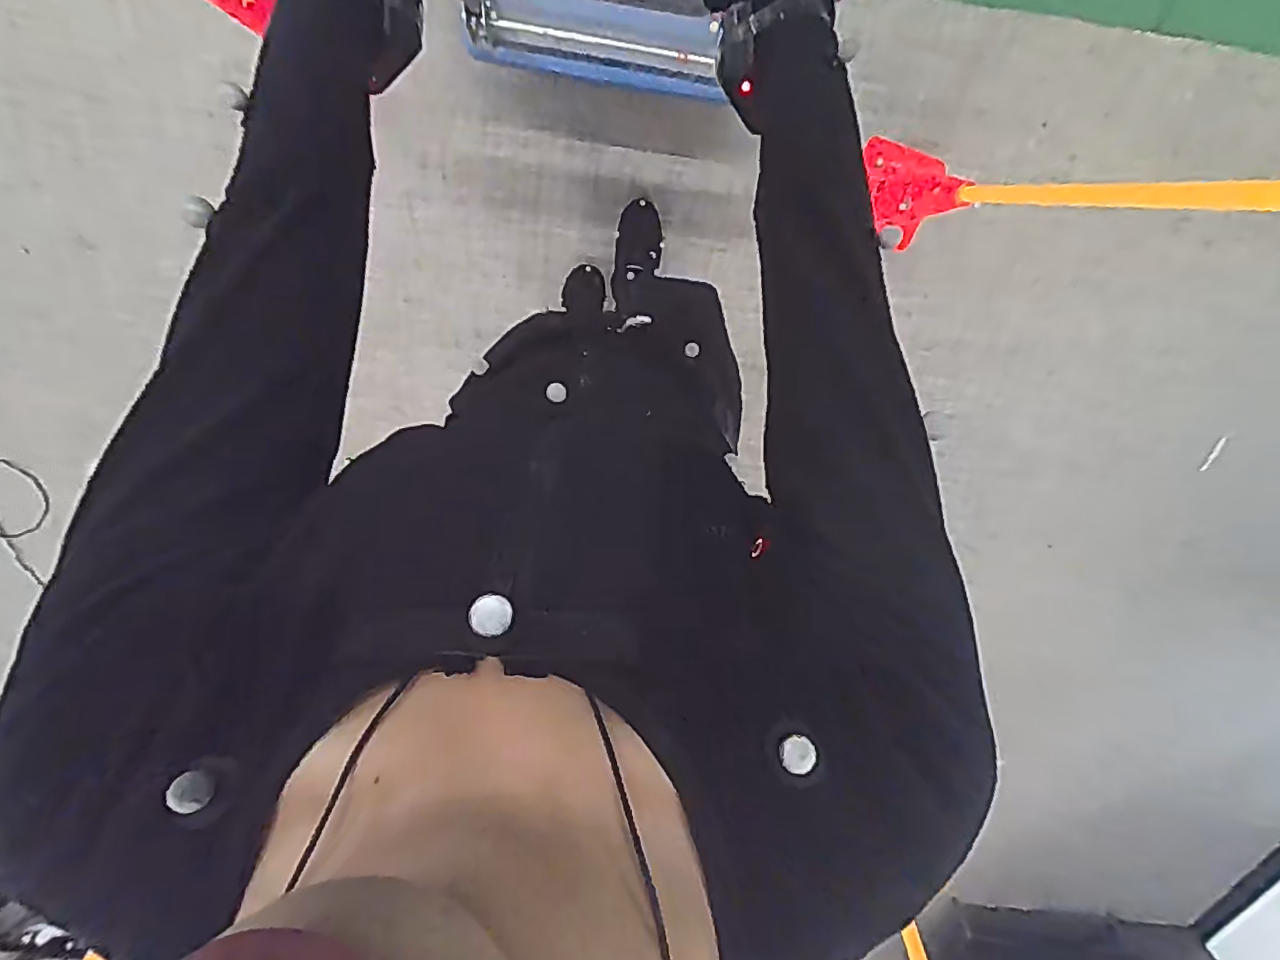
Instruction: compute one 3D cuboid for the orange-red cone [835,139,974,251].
[{"bbox_3d":[0.578,-0.584,1.113,0.198,0.360,0.199,17,117,-7],"label":"orange-red cone"}]
